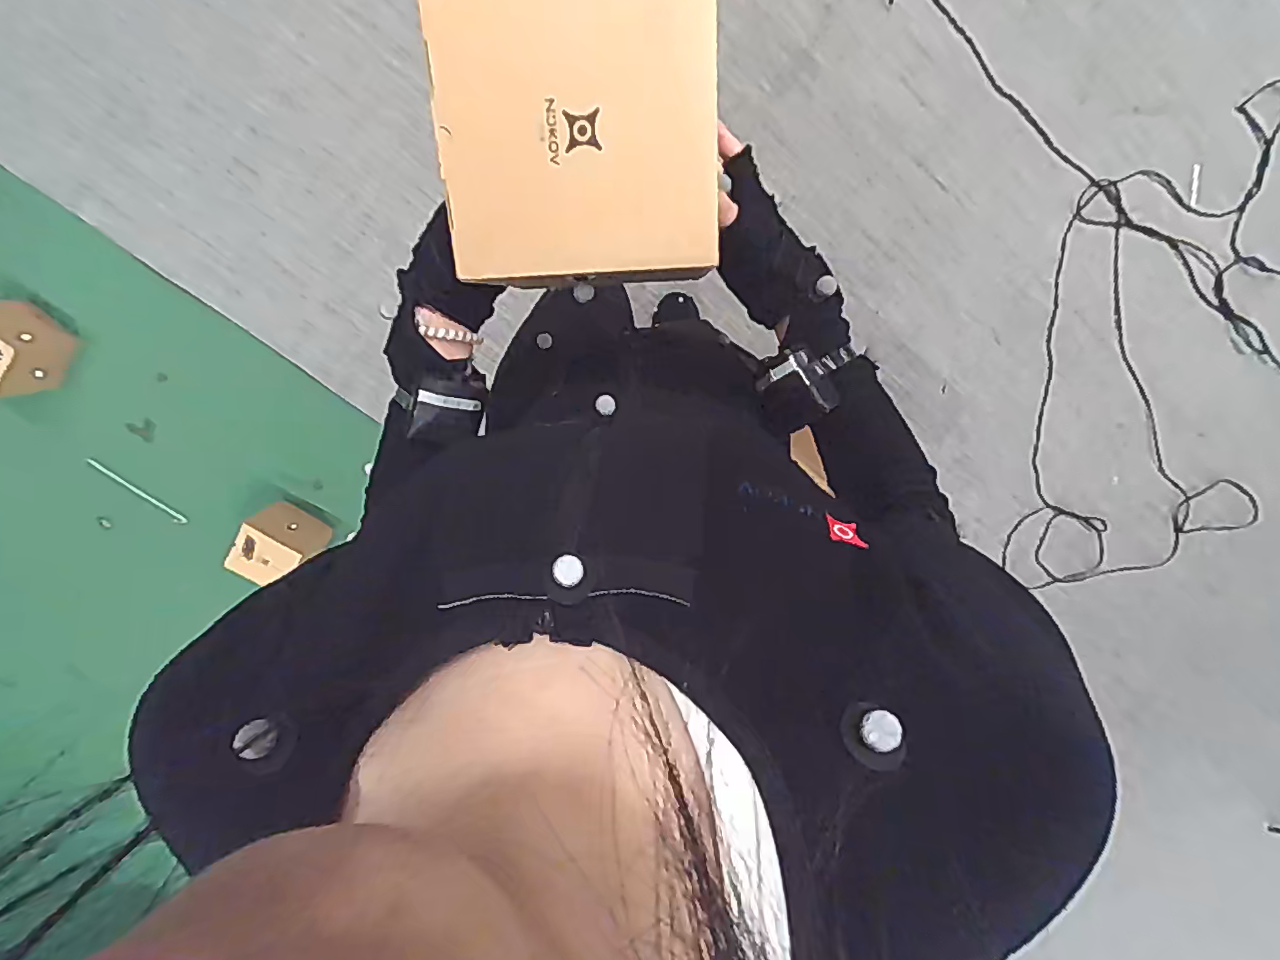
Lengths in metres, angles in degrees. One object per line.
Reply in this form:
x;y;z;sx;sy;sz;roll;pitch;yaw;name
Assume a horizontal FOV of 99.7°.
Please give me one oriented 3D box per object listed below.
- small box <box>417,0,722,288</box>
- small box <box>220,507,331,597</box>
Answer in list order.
-0.035;-0.234;0.403;0.179;0.176;0.168;-1;108;4;small box
-1.047;0.198;1.565;0.179;0.176;0.168;34;108;-10;small box
